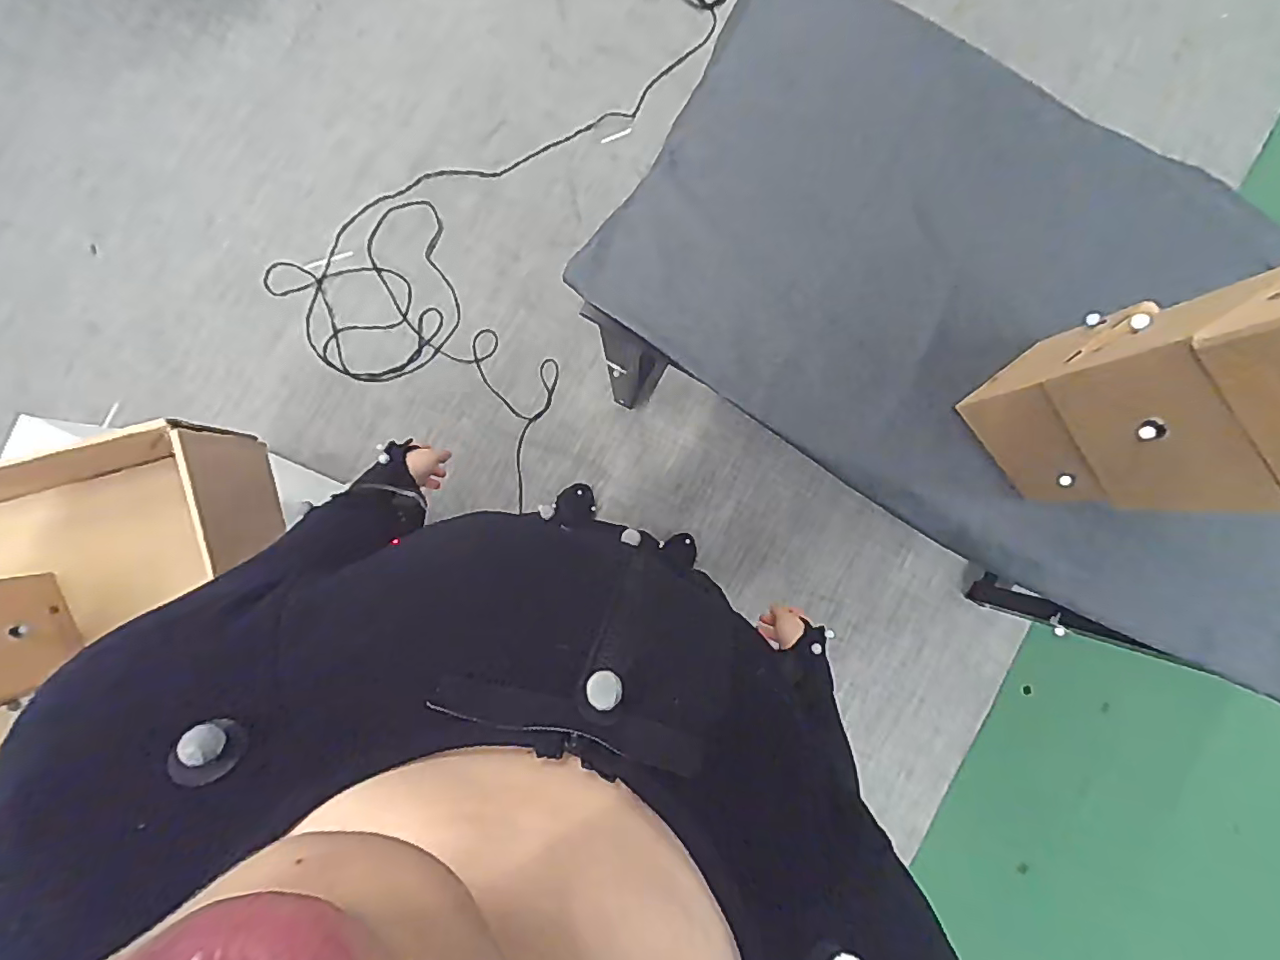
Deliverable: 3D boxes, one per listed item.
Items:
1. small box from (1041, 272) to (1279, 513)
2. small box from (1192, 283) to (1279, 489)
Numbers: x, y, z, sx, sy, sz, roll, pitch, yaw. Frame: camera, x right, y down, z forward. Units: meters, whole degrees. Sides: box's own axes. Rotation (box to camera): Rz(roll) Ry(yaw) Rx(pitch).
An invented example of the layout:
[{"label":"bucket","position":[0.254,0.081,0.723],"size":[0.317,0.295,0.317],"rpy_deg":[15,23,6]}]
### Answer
[{"label":"small box","position":[0.565,-0.082,0.539],"size":[0.168,0.176,0.179],"rpy_deg":[-29,88,-3]},{"label":"small box","position":[0.567,-0.091,0.377],"size":[0.168,0.176,0.179],"rpy_deg":[-32,89,-3]}]
